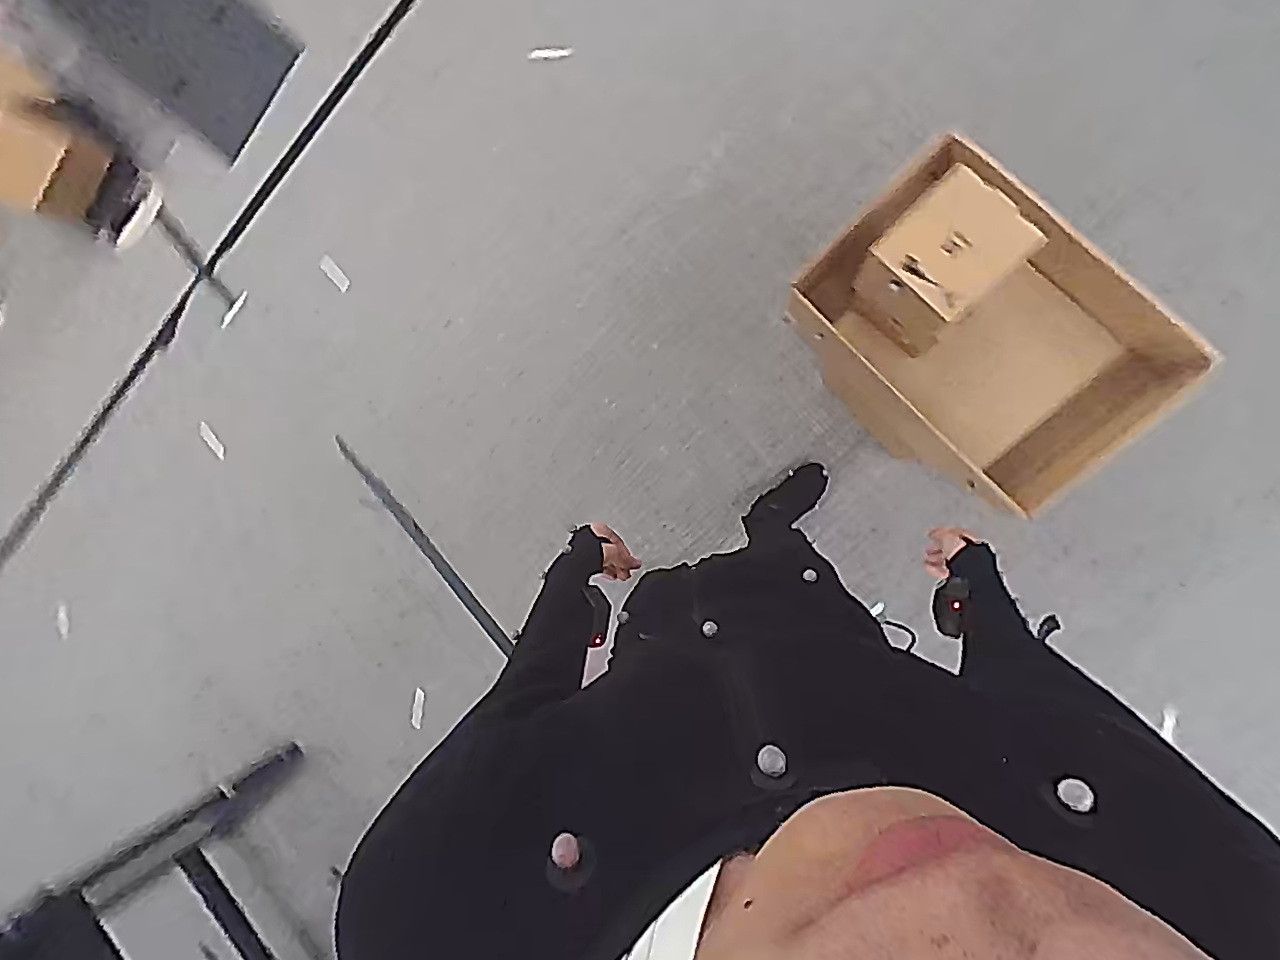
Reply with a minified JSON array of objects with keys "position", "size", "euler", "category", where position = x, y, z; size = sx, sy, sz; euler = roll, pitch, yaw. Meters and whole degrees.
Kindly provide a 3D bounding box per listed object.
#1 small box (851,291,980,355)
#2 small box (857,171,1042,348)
[{"position":[0.537,-0.360,1.040],"size":[0.179,0.176,0.168],"euler":[43,98,9],"category":"small box"},{"position":[0.487,-0.346,0.885],"size":[0.179,0.176,0.168],"euler":[-42,82,9],"category":"small box"}]
